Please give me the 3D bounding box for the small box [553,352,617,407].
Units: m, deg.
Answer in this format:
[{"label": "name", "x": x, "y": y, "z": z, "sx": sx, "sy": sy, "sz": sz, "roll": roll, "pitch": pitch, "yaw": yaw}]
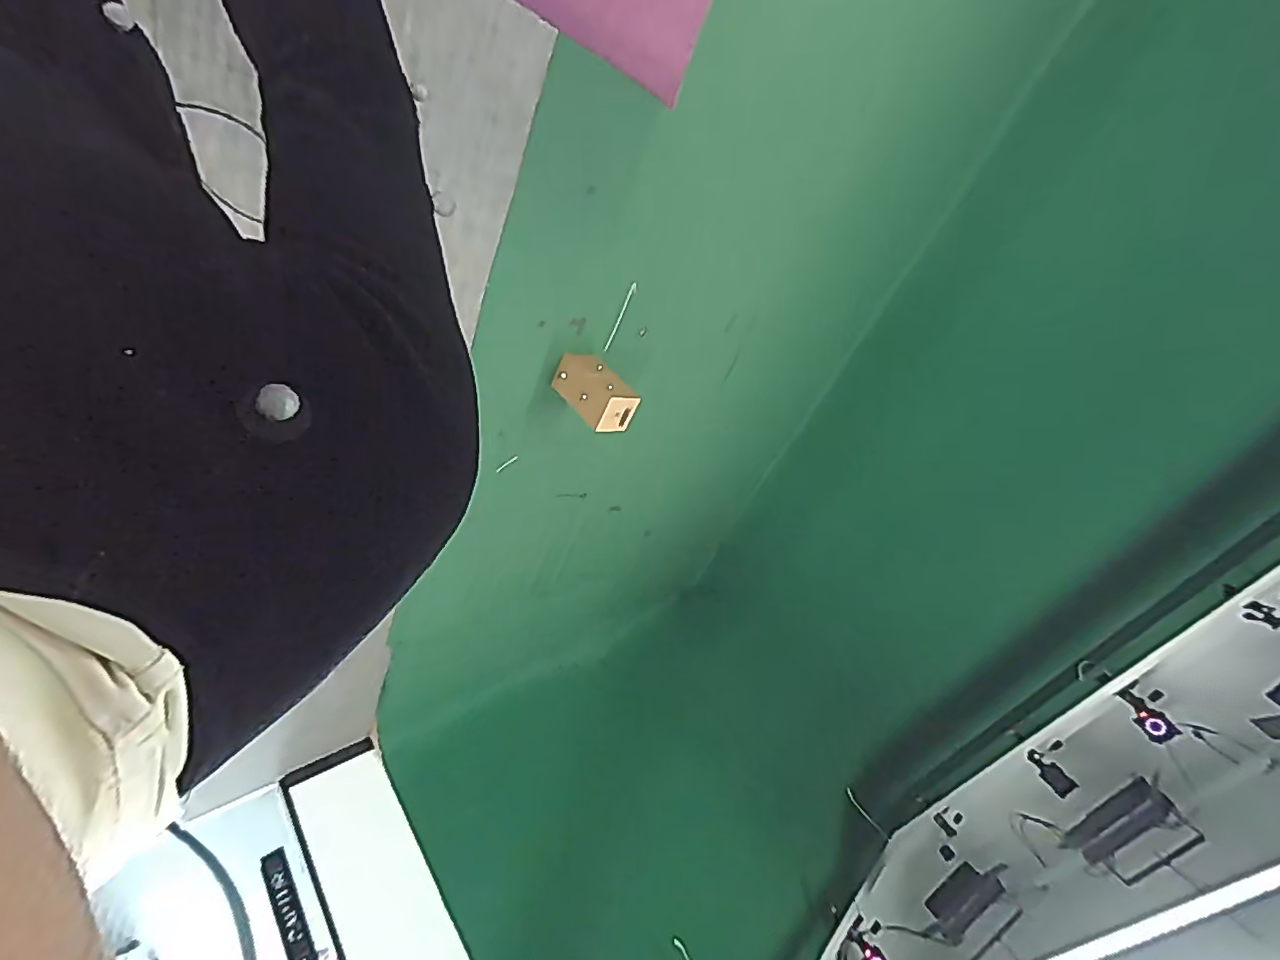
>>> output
[{"label": "small box", "x": -0.235, "y": -0.428, "z": 2.295, "sx": 0.179, "sy": 0.176, "sz": 0.168, "roll": -7, "pitch": 135, "yaw": -48}]
